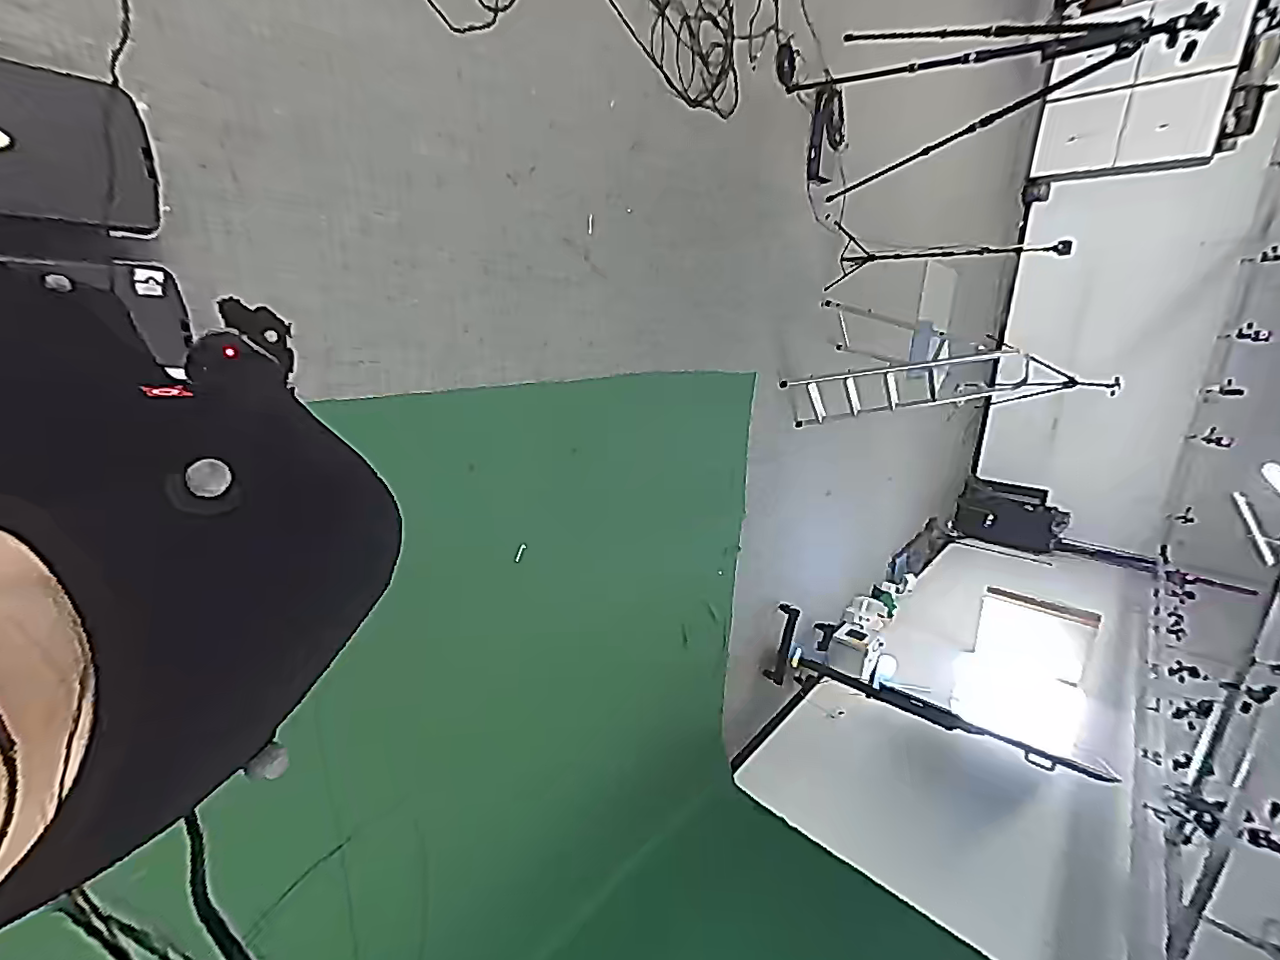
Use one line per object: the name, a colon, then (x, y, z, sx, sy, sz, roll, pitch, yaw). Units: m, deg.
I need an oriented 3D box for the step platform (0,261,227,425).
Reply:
step platform: (-1.113, -0.215, 0.869, 0.684, 0.204, 0.286, -17, 114, -47)
